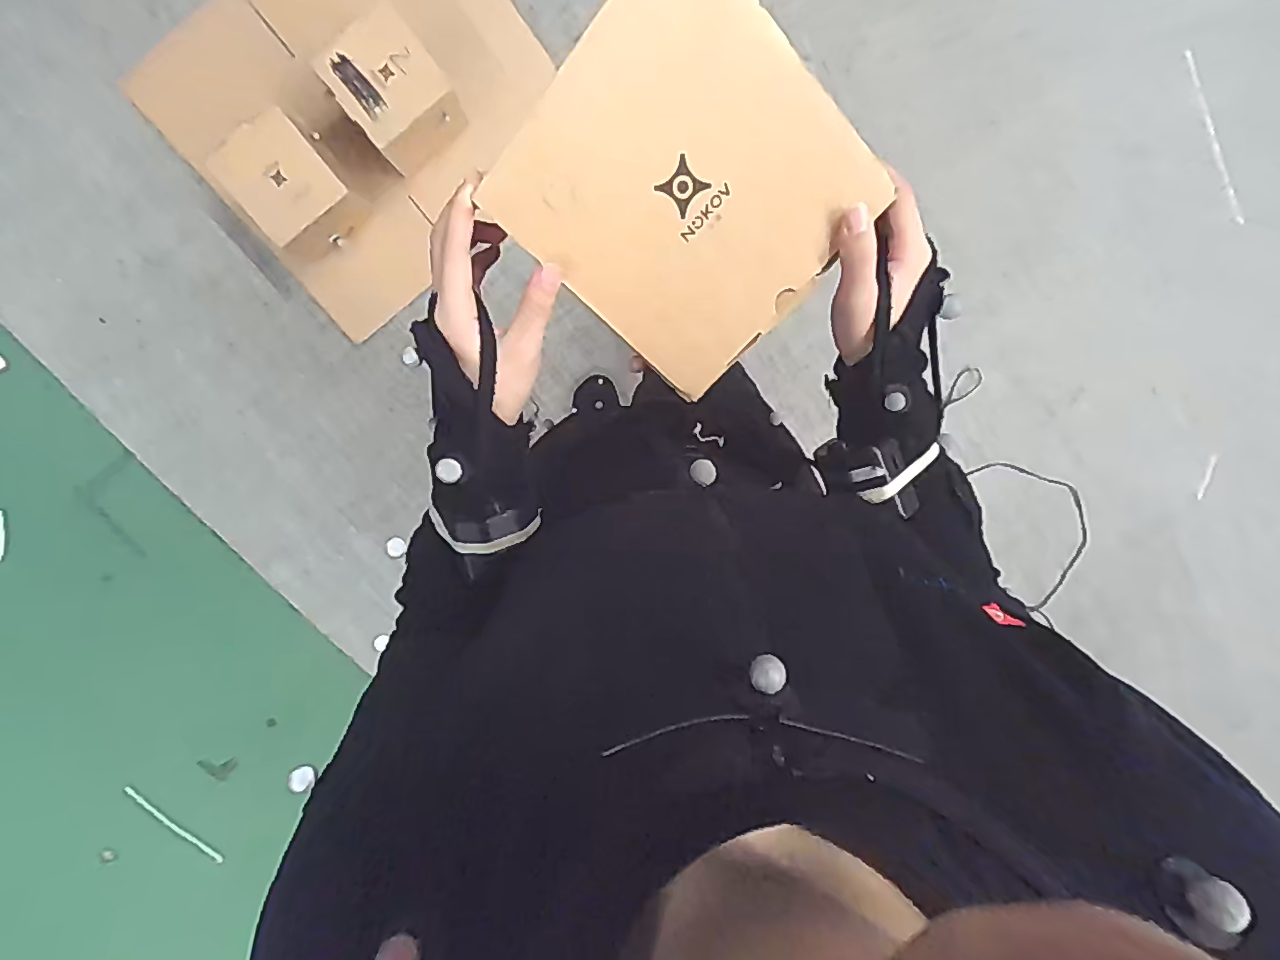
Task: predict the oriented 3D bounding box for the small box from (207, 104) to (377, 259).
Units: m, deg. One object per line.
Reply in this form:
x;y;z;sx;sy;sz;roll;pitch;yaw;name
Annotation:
-0.640;-0.546;1.021;0.168;0.176;0.179;-38;107;3;small box

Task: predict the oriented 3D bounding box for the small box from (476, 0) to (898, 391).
0.023;-0.193;0.367;0.179;0.176;0.168;39;108;-19;small box
